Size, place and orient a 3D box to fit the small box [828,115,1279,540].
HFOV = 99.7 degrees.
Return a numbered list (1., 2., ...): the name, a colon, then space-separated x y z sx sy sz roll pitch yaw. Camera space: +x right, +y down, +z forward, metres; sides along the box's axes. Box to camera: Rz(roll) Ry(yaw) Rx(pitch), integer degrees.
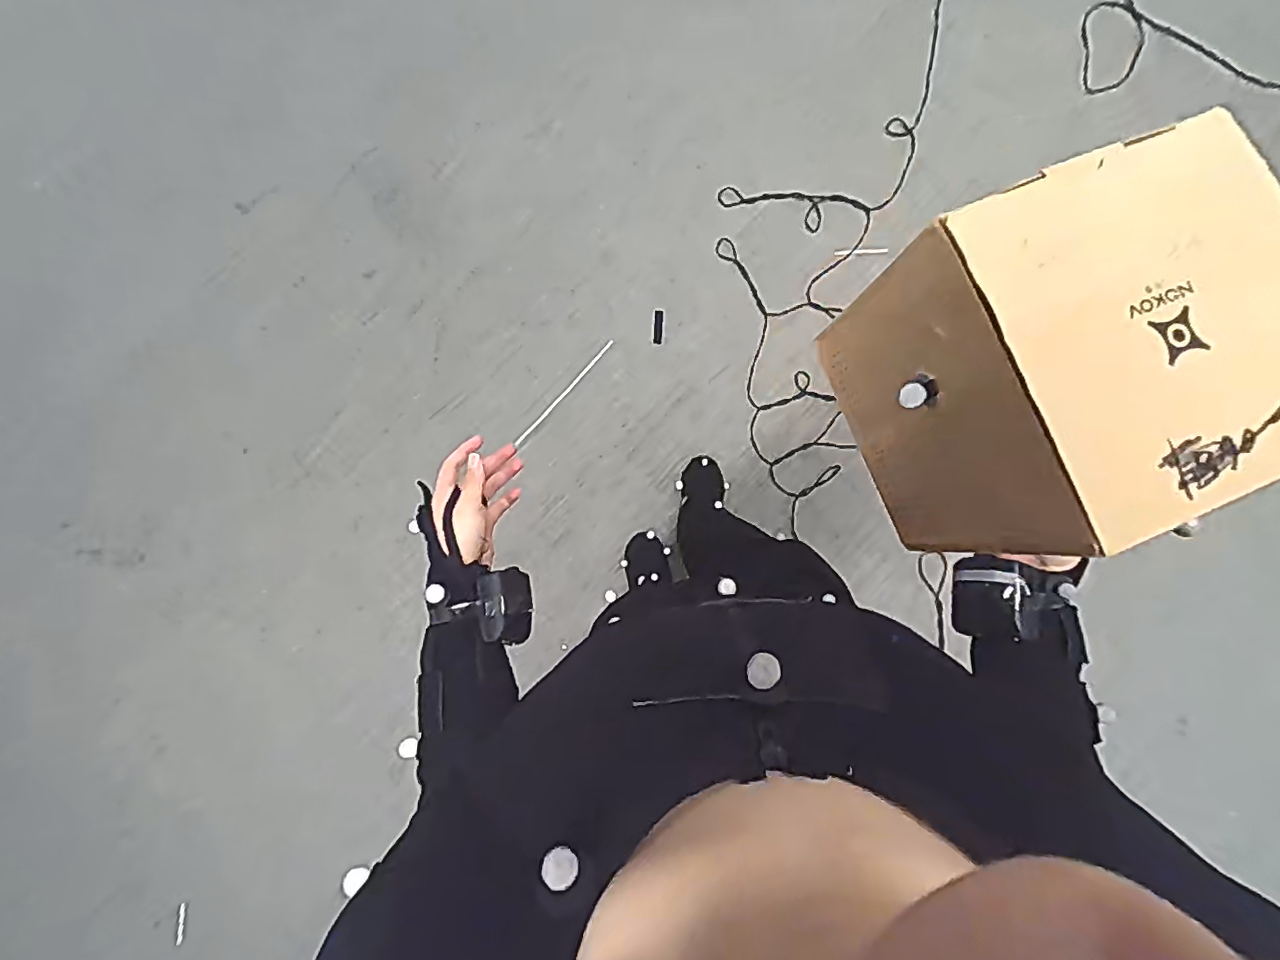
1. small box: 0.249 -0.071 0.343 0.168 0.176 0.179 -23 84 -4
